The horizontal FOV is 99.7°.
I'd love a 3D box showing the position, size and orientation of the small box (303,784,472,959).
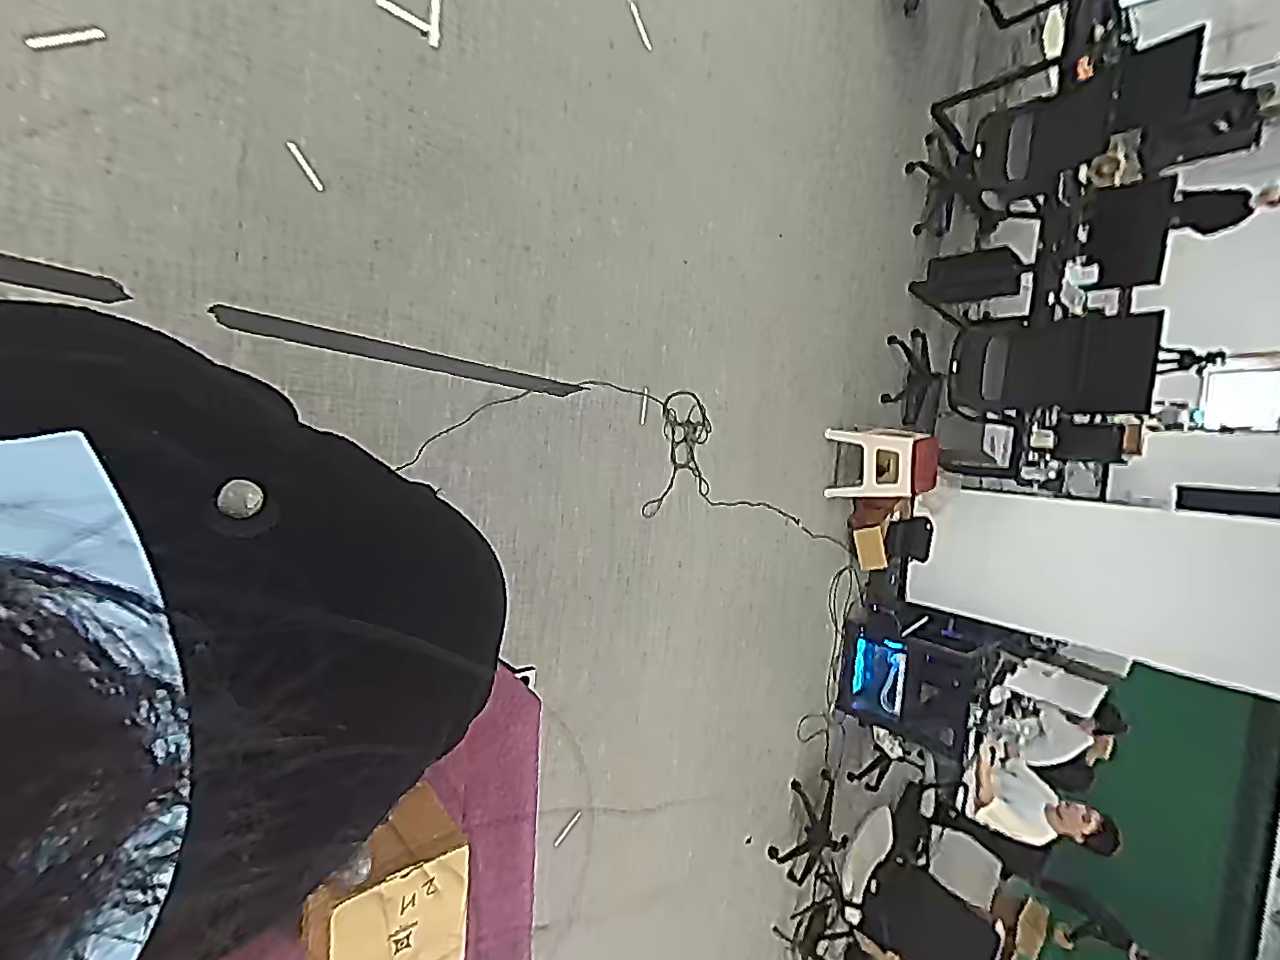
[{"bbox_3d":[-0.344,0.559,0.731,0.168,0.176,0.179,0,95,-42],"label":"small box"}]
